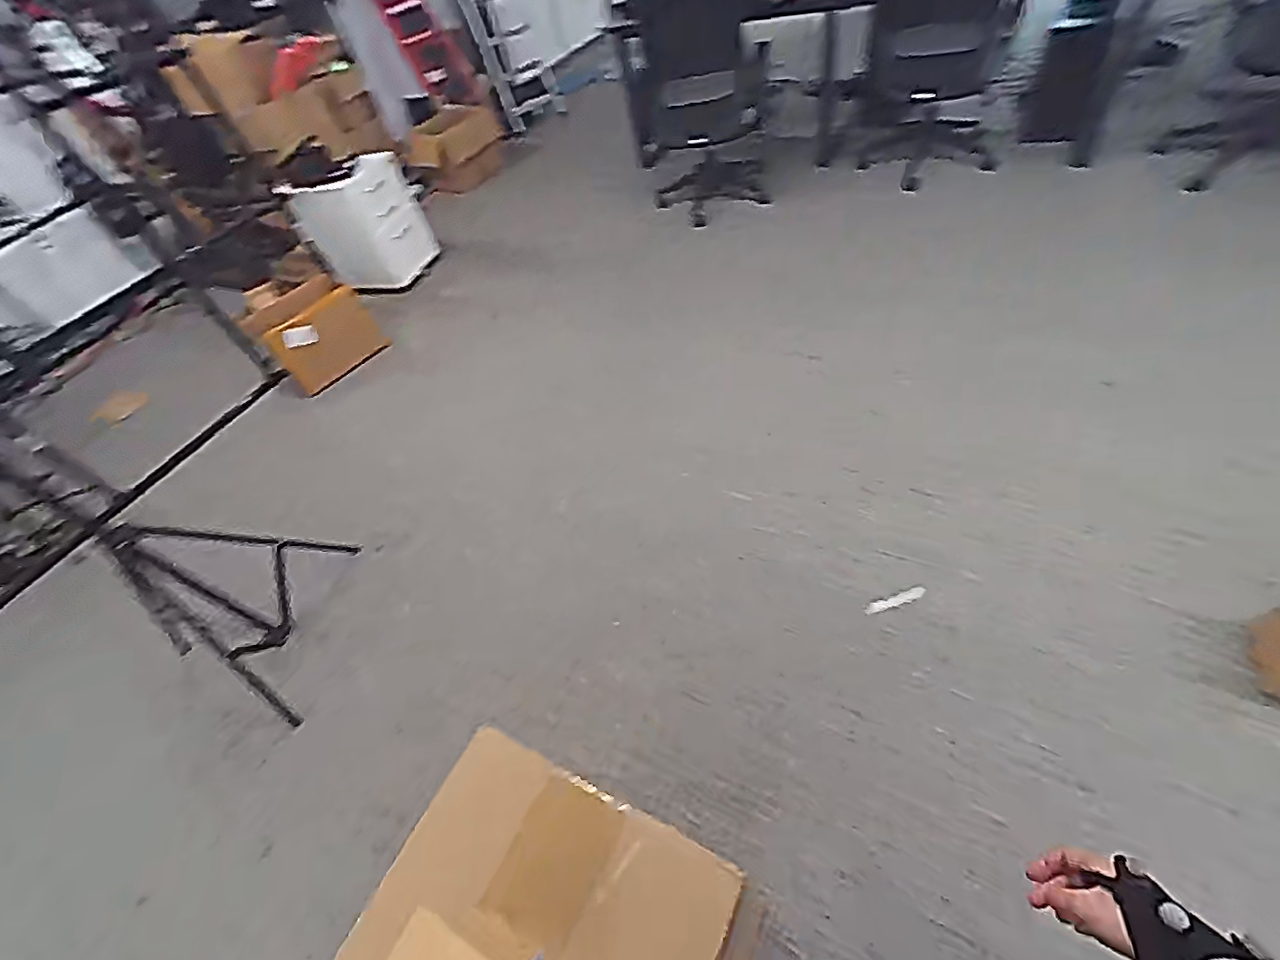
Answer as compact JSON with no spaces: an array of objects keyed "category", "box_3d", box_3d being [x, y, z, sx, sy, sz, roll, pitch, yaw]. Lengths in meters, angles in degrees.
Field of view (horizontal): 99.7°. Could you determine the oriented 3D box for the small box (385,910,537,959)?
[{"category":"small box","box_3d":[-0.165,0.536,0.491,0.168,0.176,0.179,15,57,26]}]
